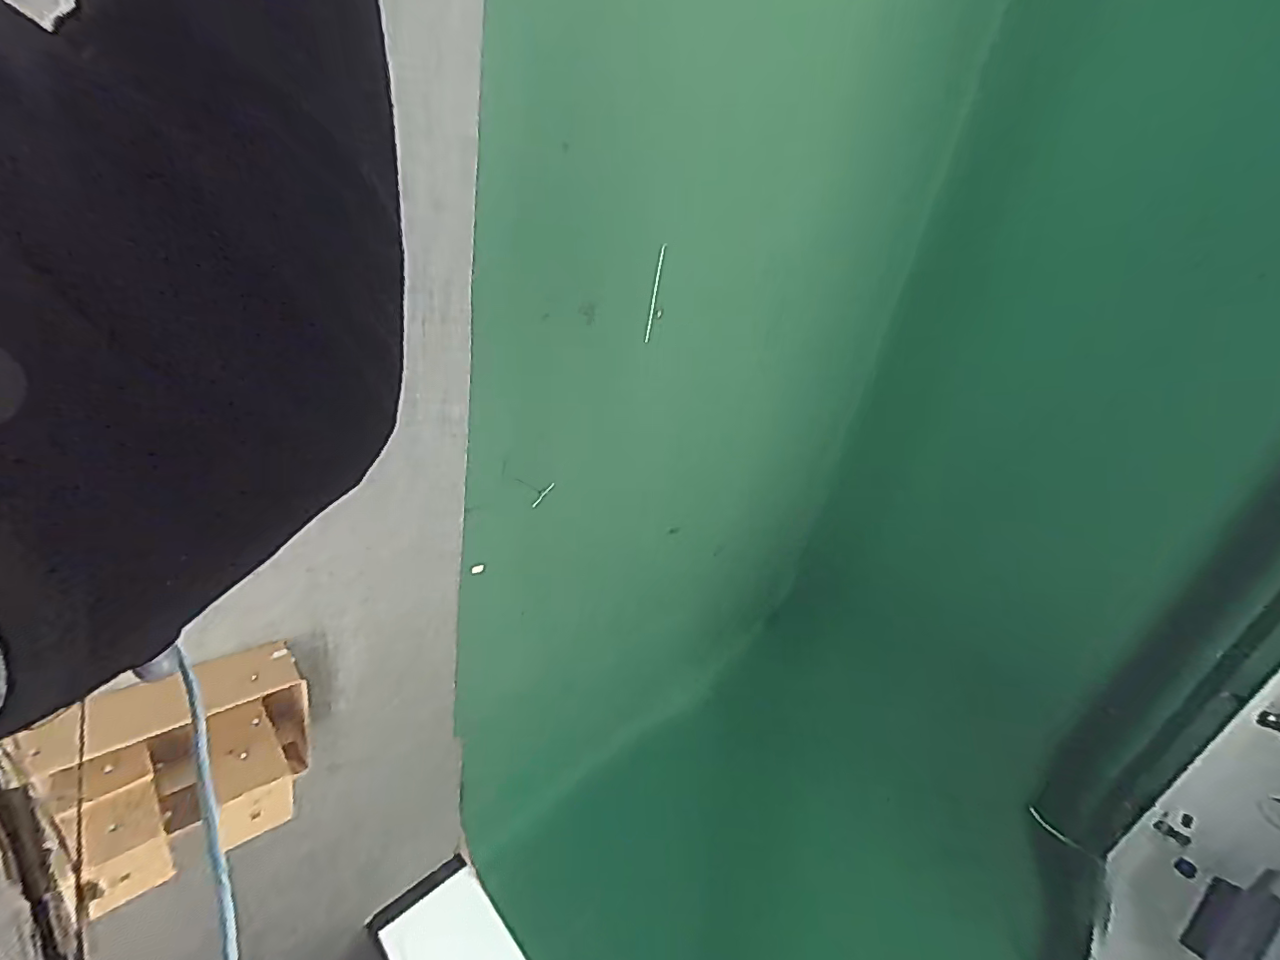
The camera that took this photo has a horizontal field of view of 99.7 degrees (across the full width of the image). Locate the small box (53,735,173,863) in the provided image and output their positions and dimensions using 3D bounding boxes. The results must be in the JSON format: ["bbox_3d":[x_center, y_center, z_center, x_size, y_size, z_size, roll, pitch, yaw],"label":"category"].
[{"bbox_3d":[-1.299,0.774,1.335,0.179,0.176,0.168,-17,125,-45],"label":"small box"}]

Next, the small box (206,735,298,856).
[{"bbox_3d":[-1.015,0.816,1.416,0.168,0.176,0.179,-11,122,-46],"label":"small box"}]
